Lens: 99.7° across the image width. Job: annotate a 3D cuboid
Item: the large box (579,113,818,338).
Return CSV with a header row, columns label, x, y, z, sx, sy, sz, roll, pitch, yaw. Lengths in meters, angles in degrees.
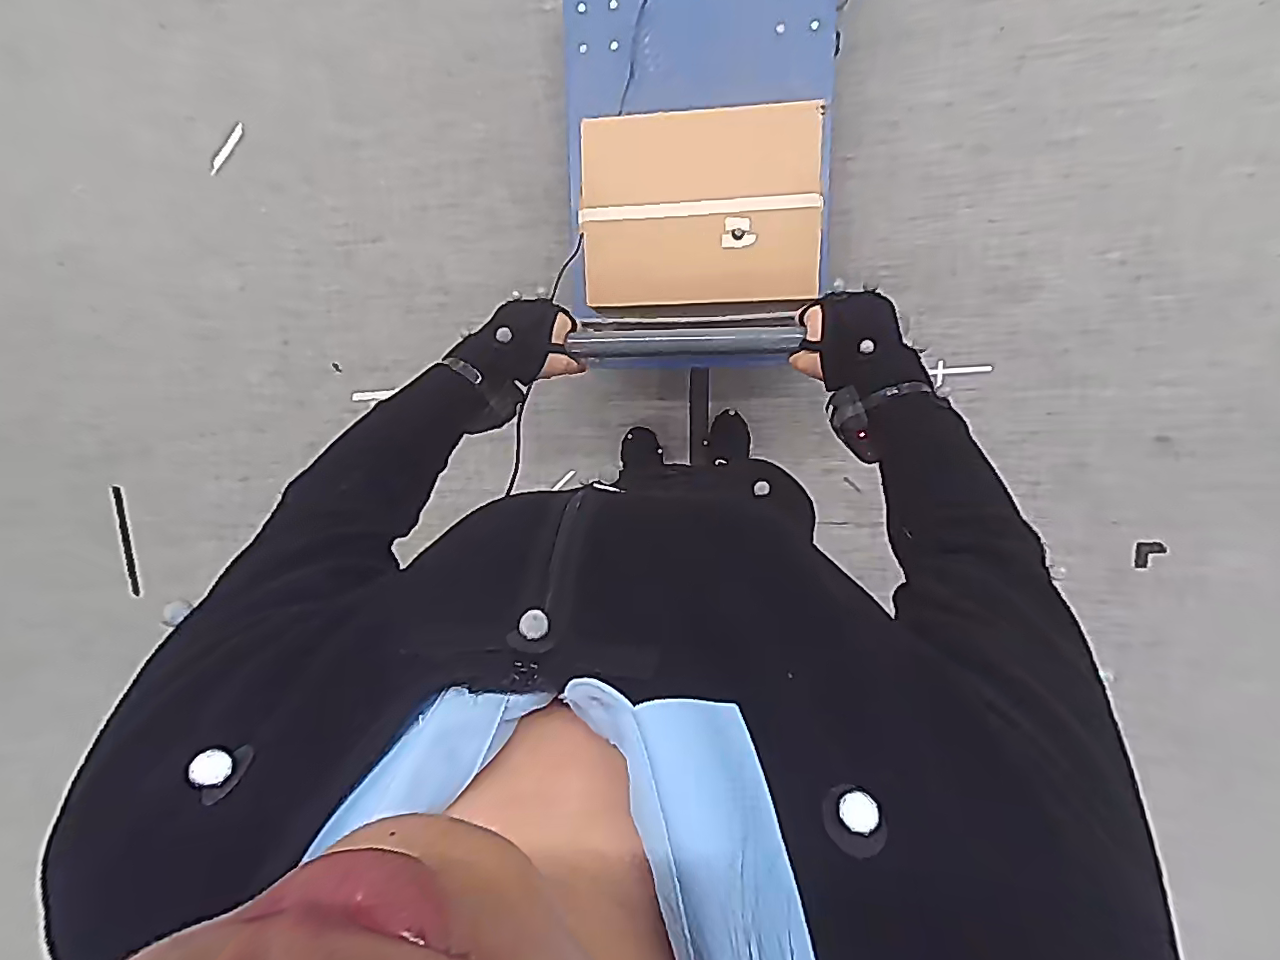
label,x,y,z,sx,sy,sz,roll,pitch,yaw
large box,0.111,-0.463,1.068,0.408,0.320,0.320,0,99,6
